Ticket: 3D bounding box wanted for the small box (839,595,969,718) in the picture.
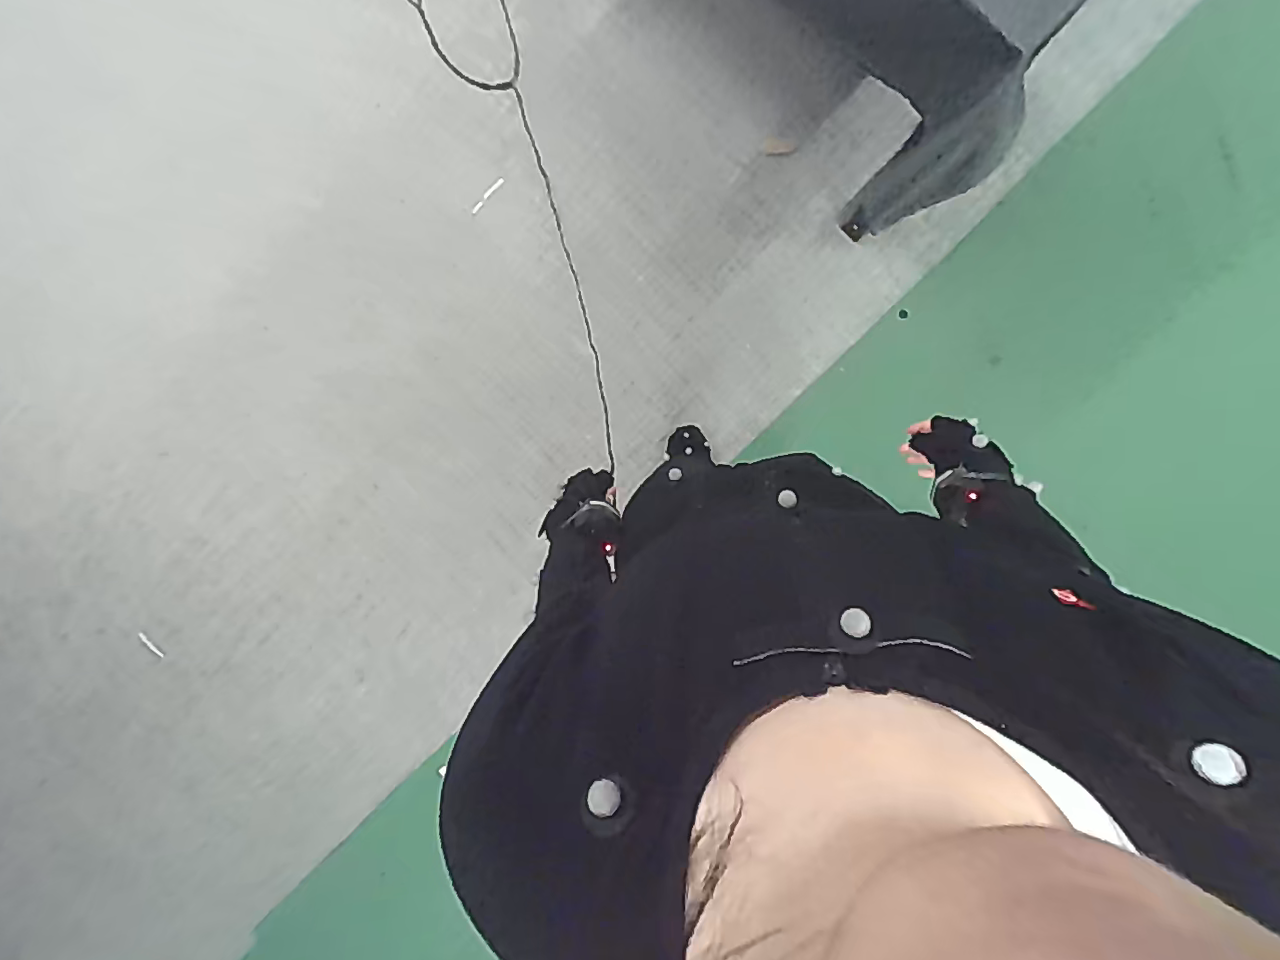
[{"bbox_3d":[0.586,0.389,1.228,0.179,0.176,0.168,-41,90,8],"label":"small box"}]
